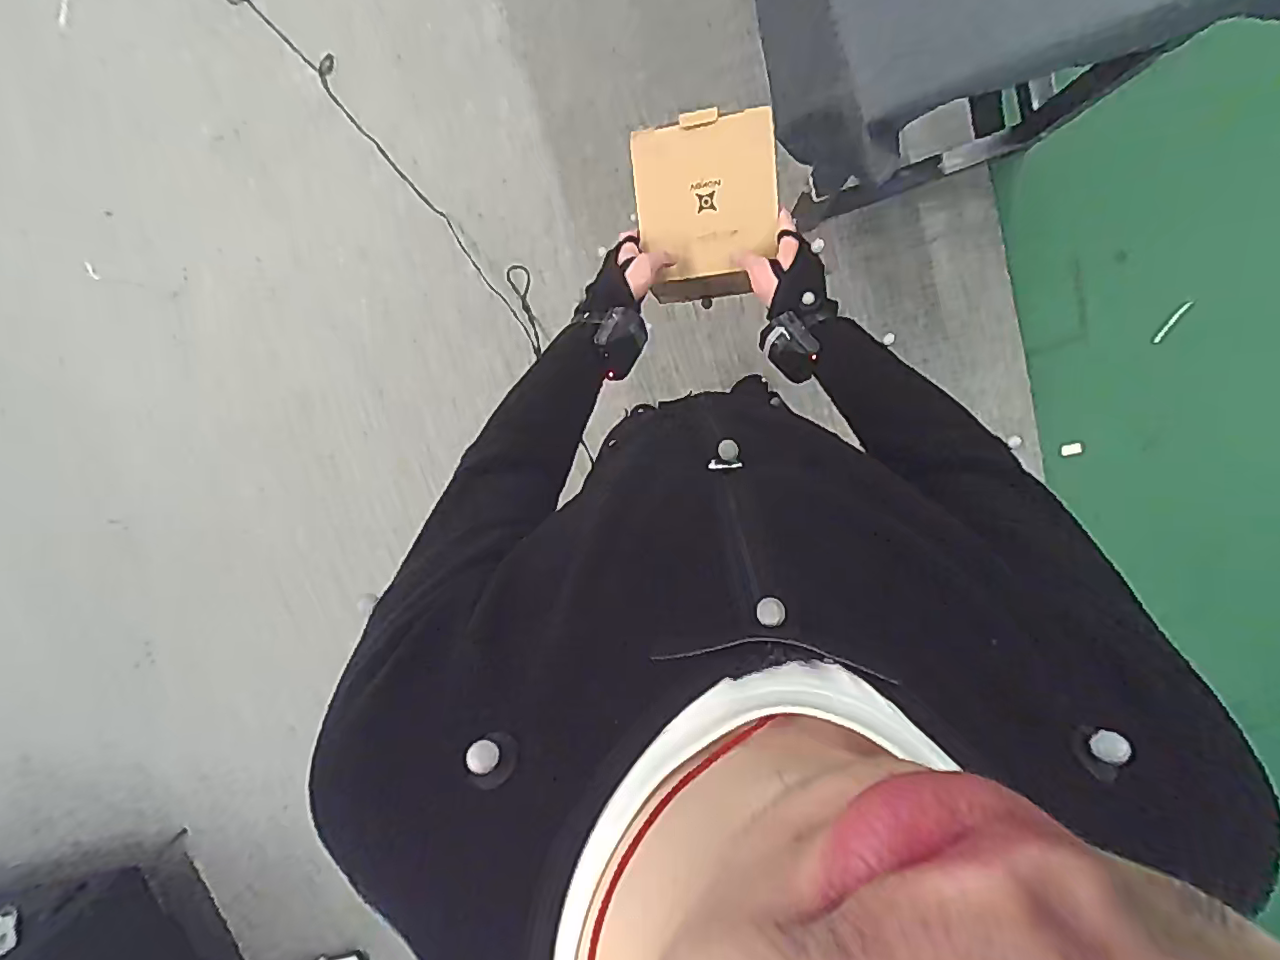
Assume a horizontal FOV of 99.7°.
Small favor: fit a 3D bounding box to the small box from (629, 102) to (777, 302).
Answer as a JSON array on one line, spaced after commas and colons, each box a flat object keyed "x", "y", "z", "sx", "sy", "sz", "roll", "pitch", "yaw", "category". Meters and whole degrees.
[{"x": 0.084, "y": -0.338, "z": 0.694, "sx": 0.168, "sy": 0.176, "sz": 0.179, "roll": -2, "pitch": 99, "yaw": 11, "category": "small box"}]
